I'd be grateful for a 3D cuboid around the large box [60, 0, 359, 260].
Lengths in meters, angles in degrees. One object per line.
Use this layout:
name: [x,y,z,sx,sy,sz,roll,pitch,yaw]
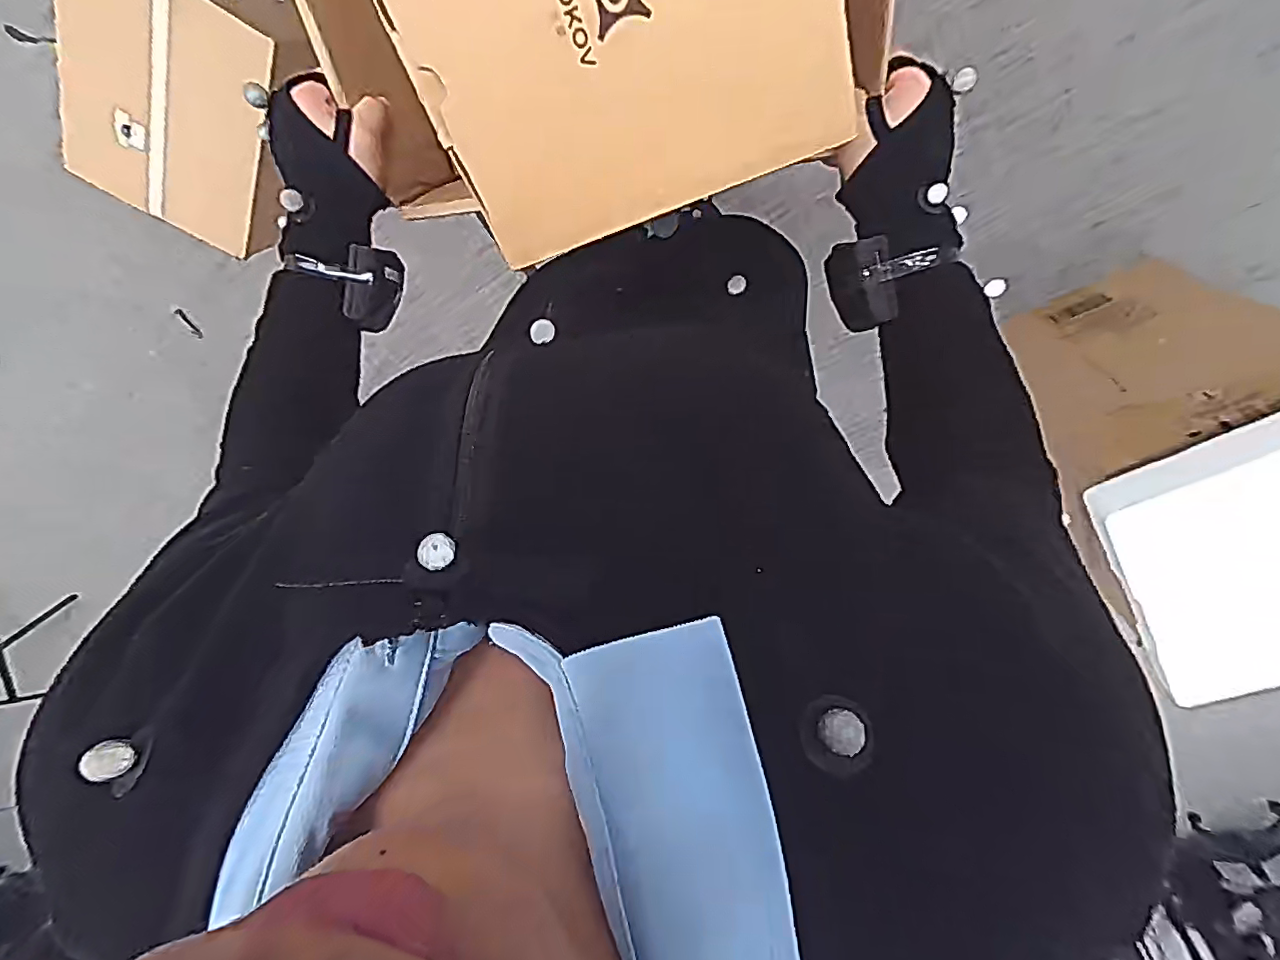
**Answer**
large box: [-0.791,-0.722,1.032,0.320,0.320,0.408,27,126,-16]
